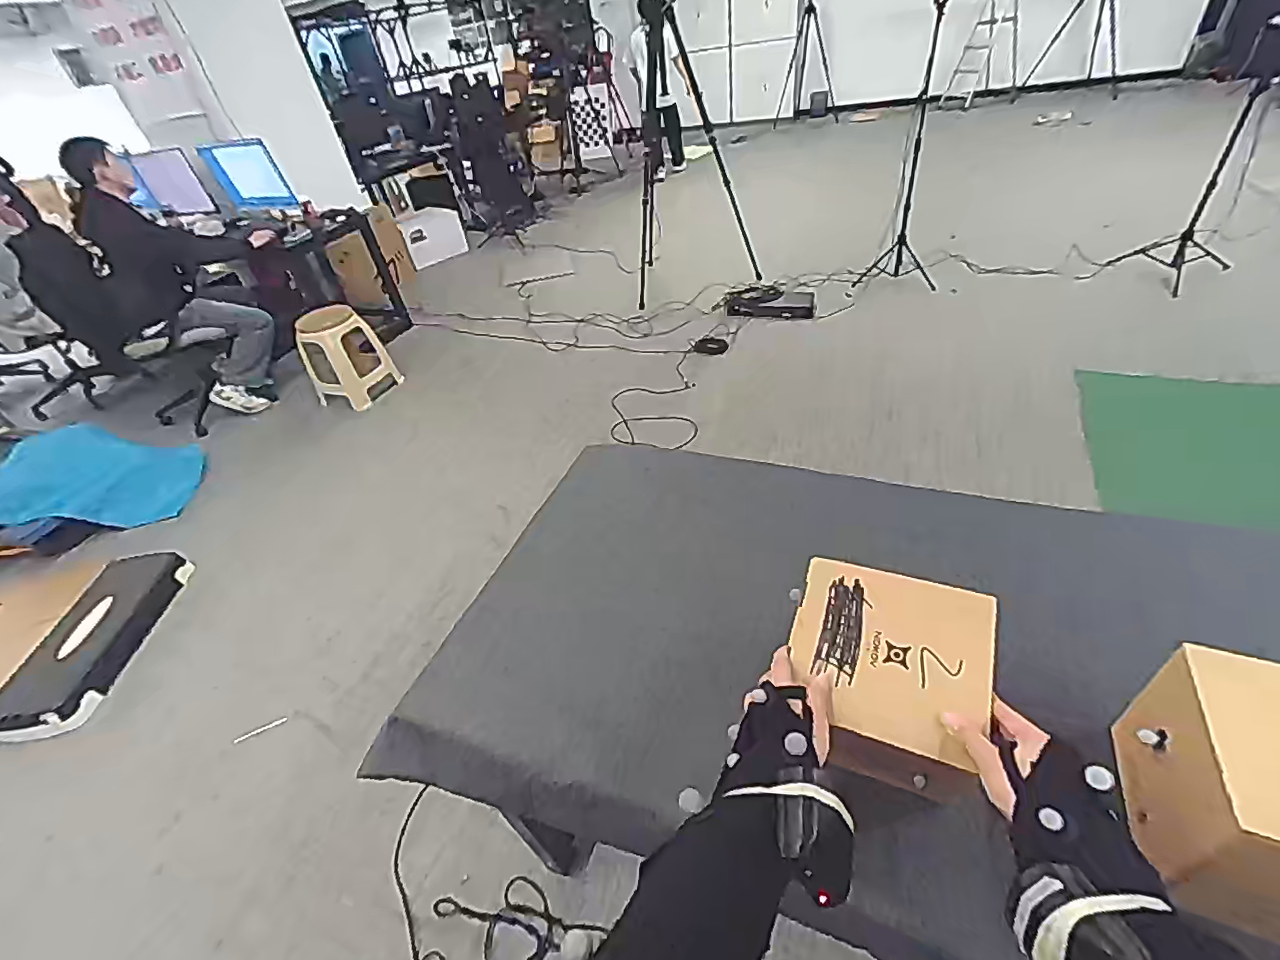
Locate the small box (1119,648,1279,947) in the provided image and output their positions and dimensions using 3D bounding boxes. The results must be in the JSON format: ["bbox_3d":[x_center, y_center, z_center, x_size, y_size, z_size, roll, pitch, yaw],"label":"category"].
[{"bbox_3d":[0.547,0.278,0.456,0.179,0.176,0.168,11,44,23],"label":"small box"}]
